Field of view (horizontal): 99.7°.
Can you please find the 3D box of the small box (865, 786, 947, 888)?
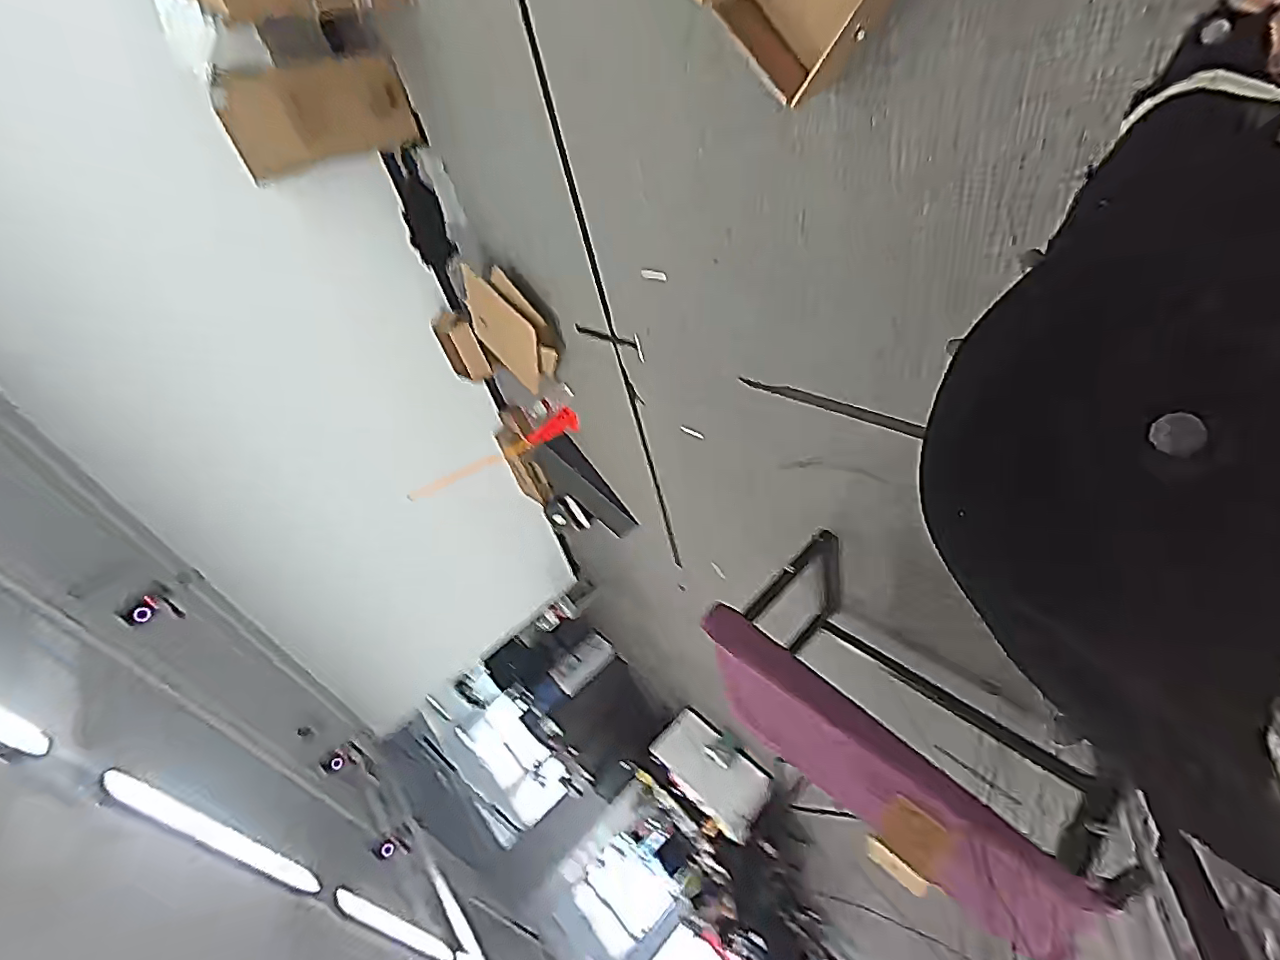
[{"bbox_3d":[0.806,1.076,1.642,0.168,0.176,0.179,28,147,42],"label":"small box"}]
